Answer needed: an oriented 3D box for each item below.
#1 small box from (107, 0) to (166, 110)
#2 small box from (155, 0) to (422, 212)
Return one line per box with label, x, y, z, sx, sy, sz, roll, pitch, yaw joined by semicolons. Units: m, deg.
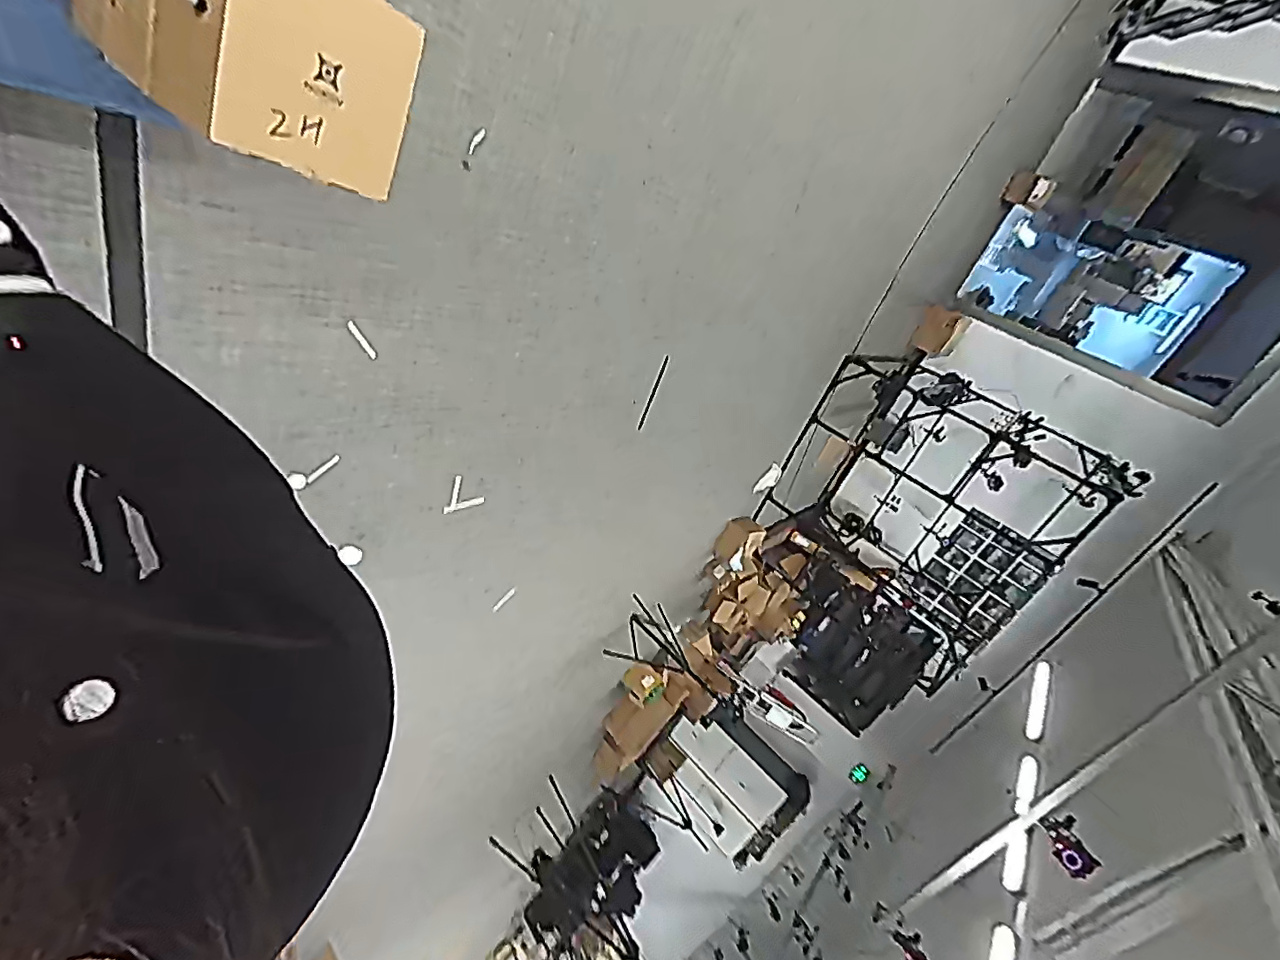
small box;-0.479;-0.501;0.626;0.179;0.176;0.168;-10;131;-55
small box;-0.360;-0.414;0.552;0.168;0.176;0.179;-7;129;-56
